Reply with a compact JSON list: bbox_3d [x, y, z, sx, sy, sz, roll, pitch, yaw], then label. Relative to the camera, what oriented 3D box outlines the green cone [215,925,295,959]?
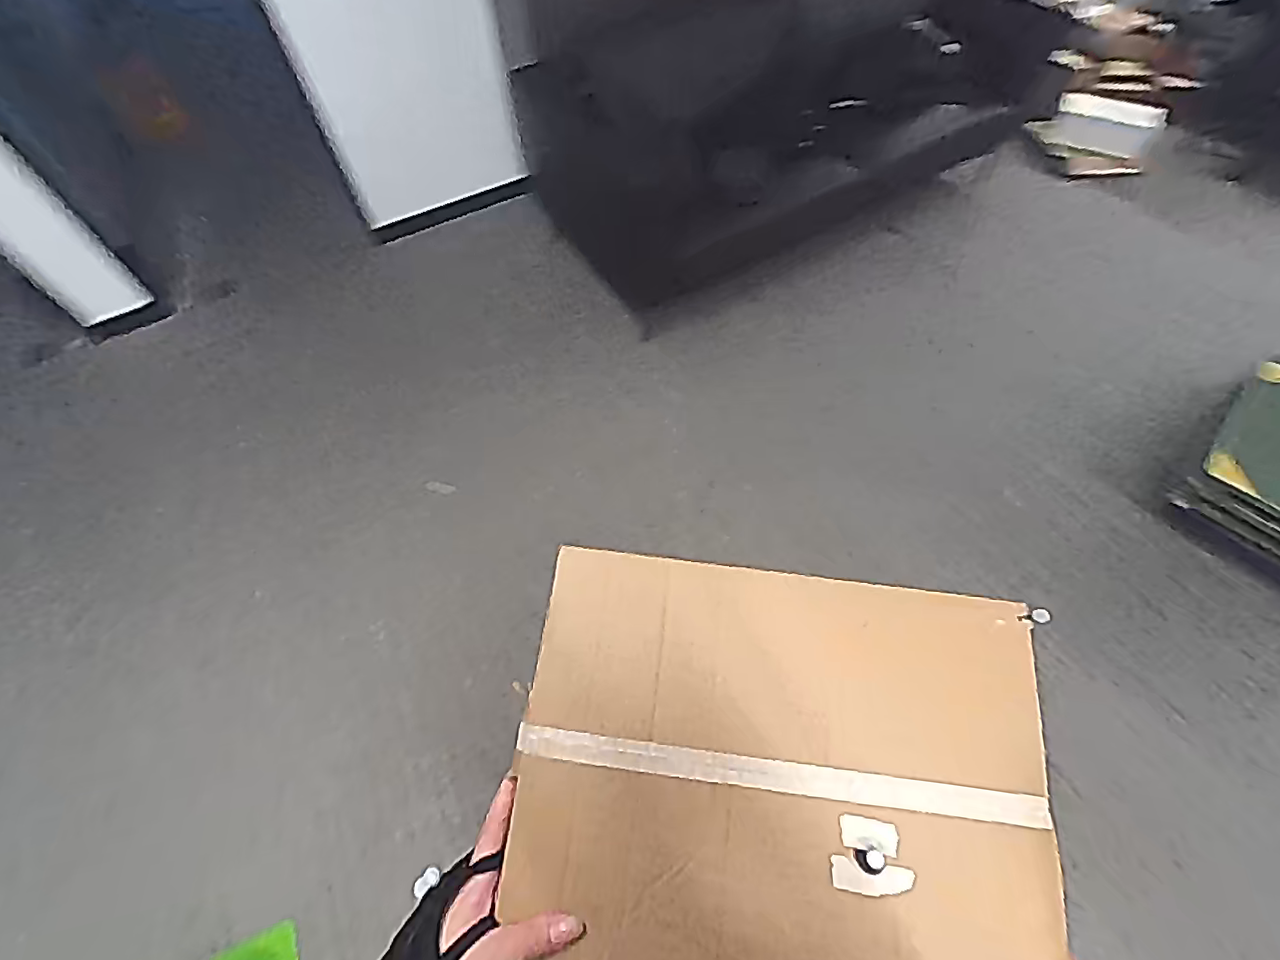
[{"bbox_3d":[-0.855,1.032,1.030,0.202,0.368,0.200,-23,60,-11],"label":"green cone"}]

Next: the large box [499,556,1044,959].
[{"bbox_3d":[0.104,0.279,0.573,0.408,0.320,0.320,6,71,2],"label":"large box"}]
